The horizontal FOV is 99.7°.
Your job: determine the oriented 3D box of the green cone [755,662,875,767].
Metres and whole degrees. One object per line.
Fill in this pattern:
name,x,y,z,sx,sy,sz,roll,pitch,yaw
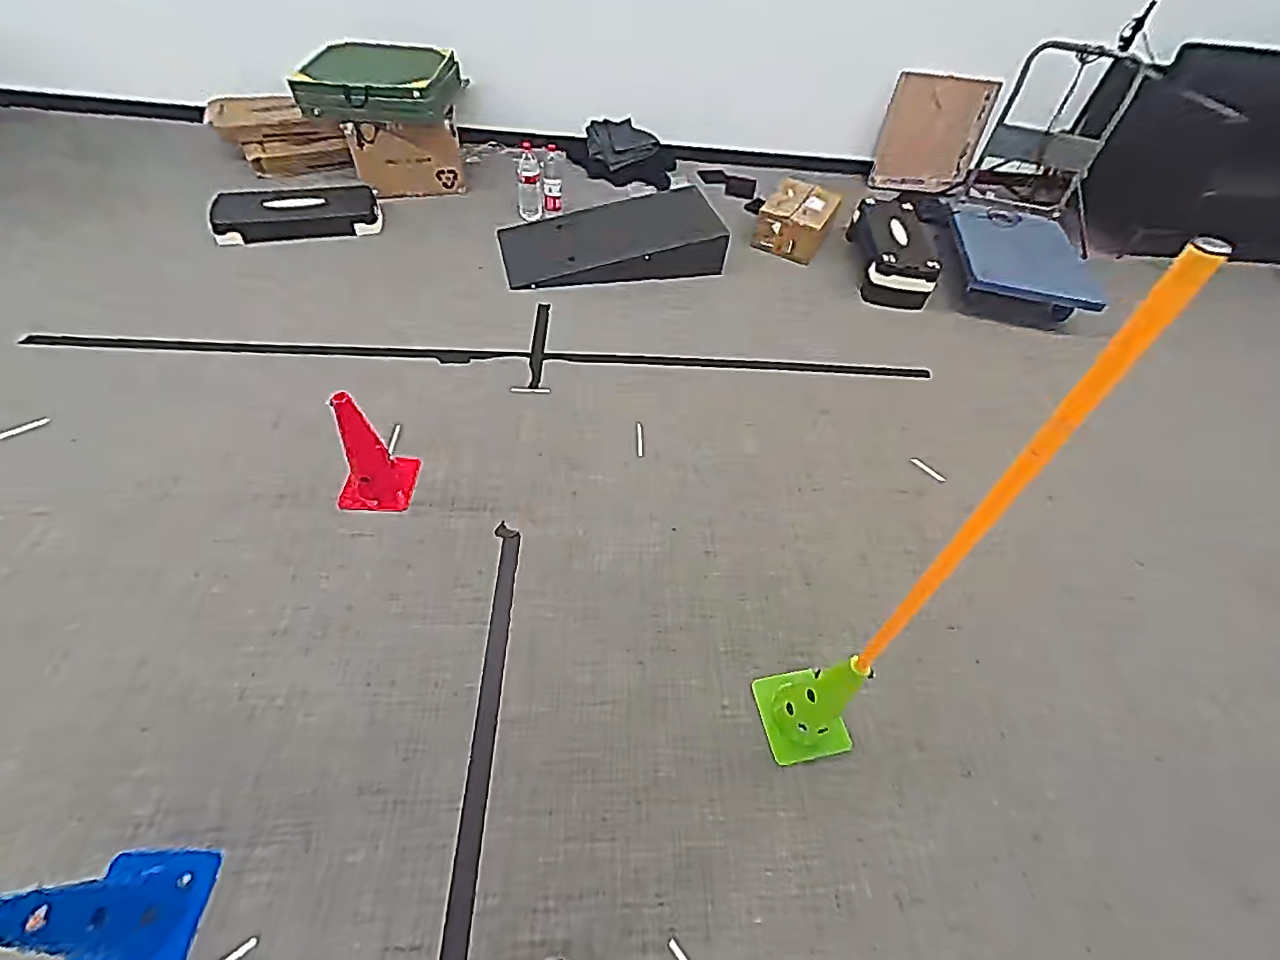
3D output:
green cone,0.410,0.471,1.180,0.200,0.368,0.202,-7,54,-12

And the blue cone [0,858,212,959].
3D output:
blue cone,-0.895,0.706,0.857,0.193,0.380,0.192,4,52,-3
